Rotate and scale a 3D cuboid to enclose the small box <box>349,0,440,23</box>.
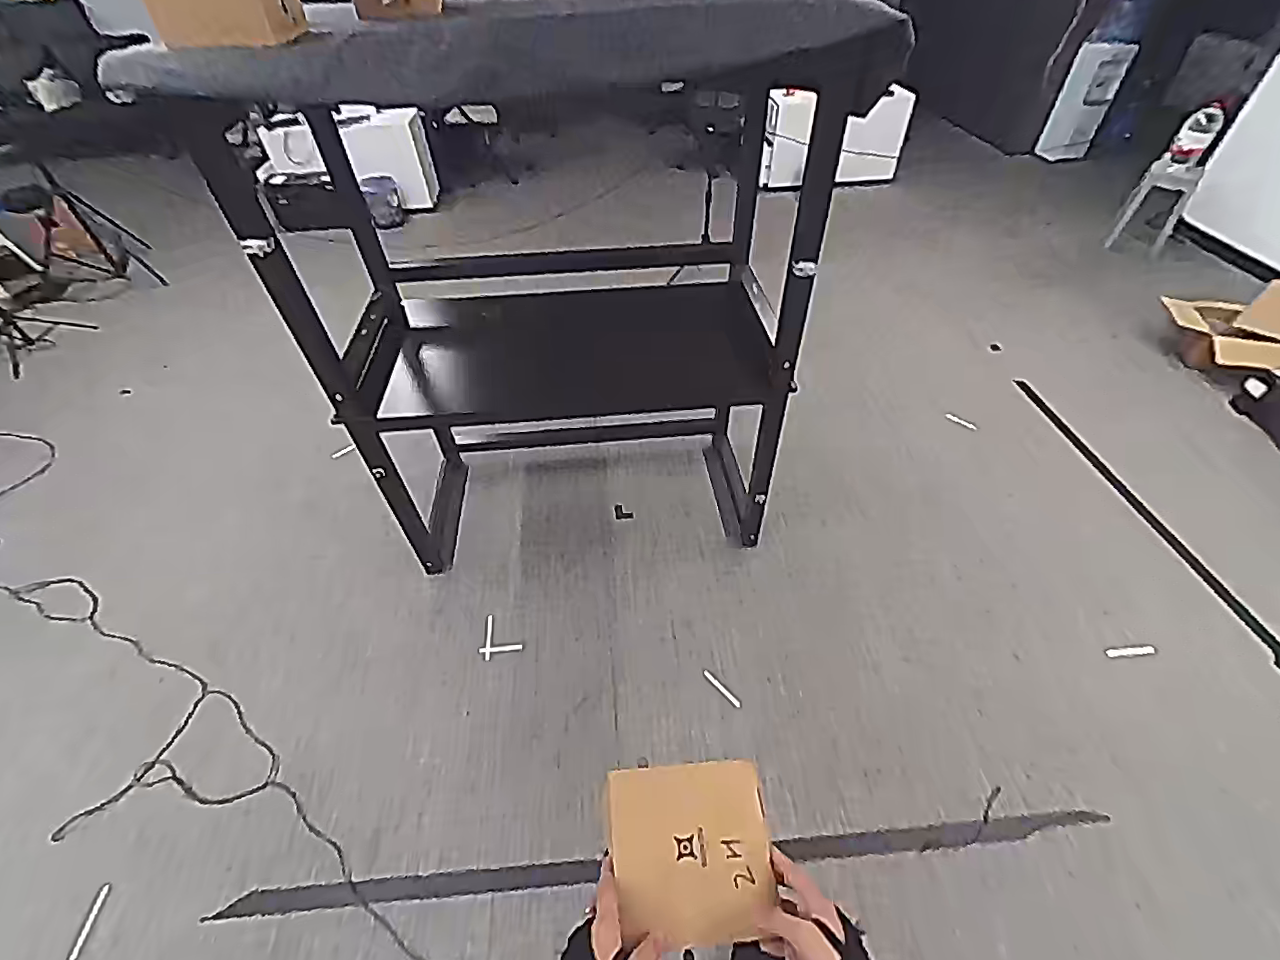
[{"bbox_3d":[-0.514,-1.044,1.092,0.168,0.176,0.179,-11,47,-7],"label":"small box"}]

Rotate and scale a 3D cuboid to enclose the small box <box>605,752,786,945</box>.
[{"bbox_3d":[0.048,0.436,0.642,0.179,0.176,0.168,0,52,-8],"label":"small box"}]
